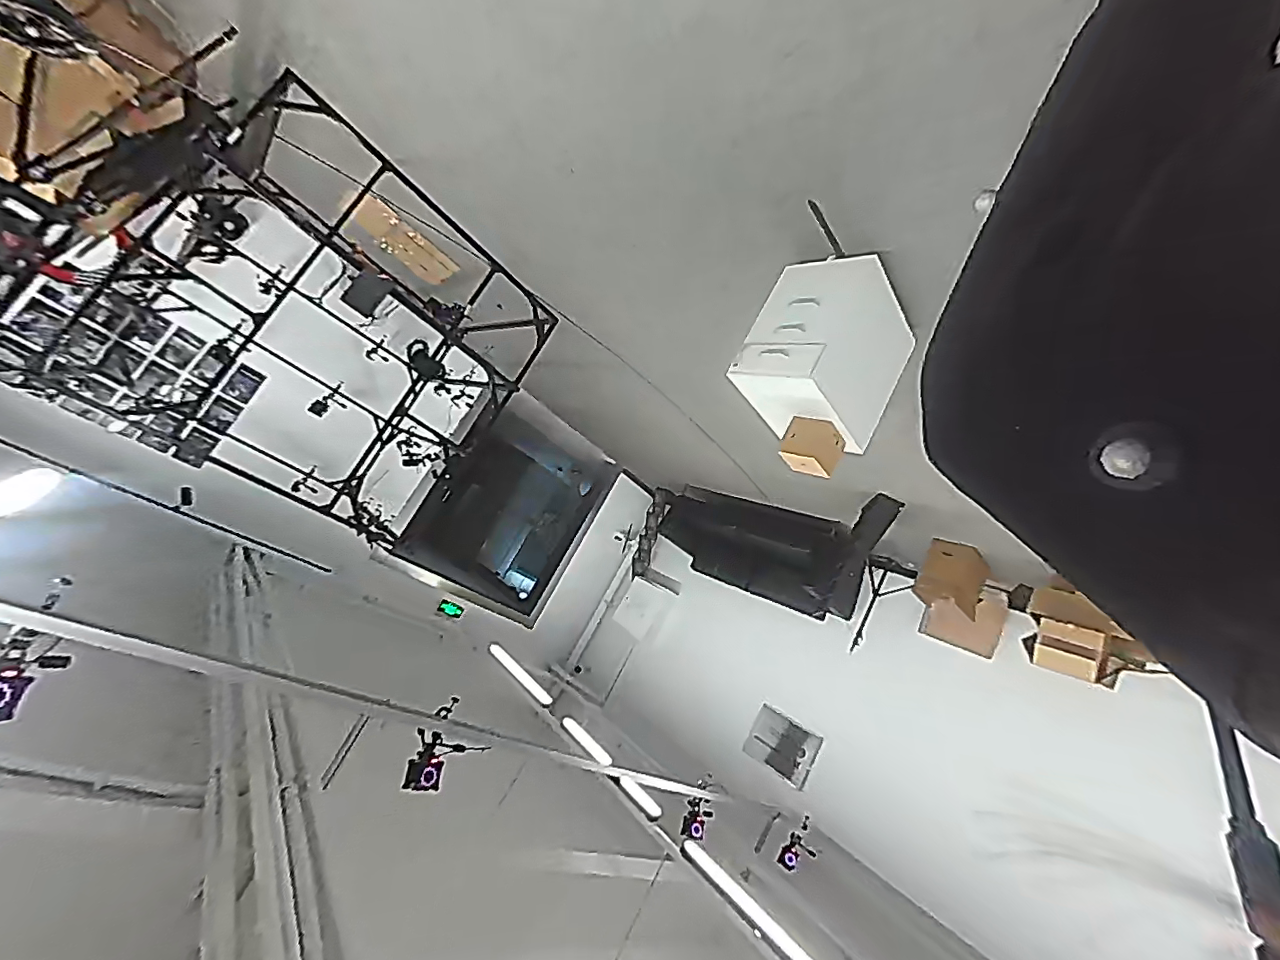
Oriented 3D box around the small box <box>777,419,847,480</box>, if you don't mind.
[{"bbox_3d":[0.683,-0.125,2.141,0.179,0.176,0.168,18,165,48],"label":"small box"}]
